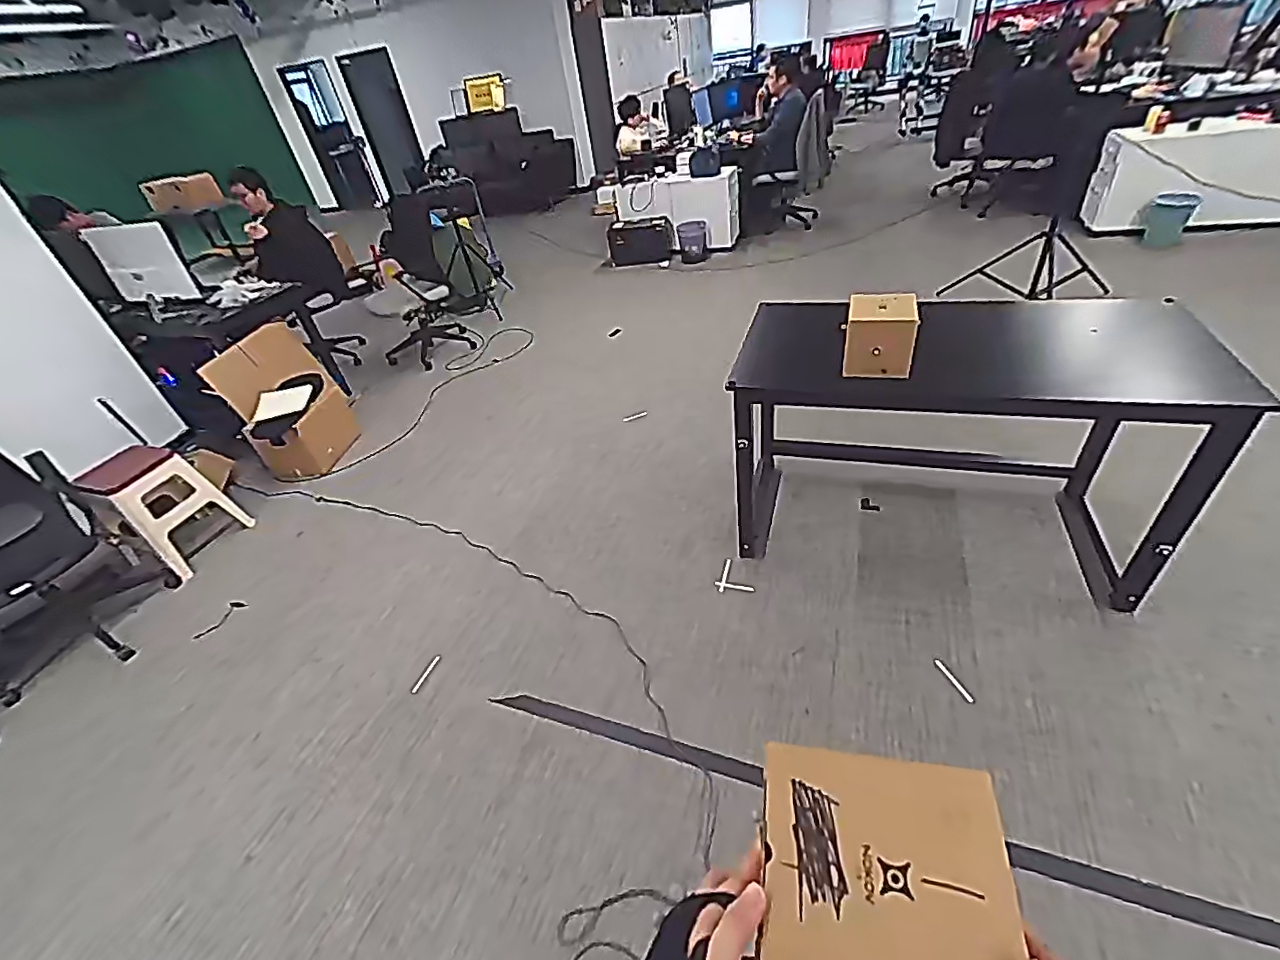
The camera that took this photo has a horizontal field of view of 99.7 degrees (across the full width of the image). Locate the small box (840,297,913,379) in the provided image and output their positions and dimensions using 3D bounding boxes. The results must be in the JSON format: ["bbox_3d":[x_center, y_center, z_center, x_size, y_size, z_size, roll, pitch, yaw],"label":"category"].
[{"bbox_3d":[0.652,-0.392,1.498,0.168,0.176,0.179,6,41,19],"label":"small box"}]

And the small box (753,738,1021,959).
[{"bbox_3d":[0.192,0.345,0.465,0.179,0.176,0.168,2,48,14],"label":"small box"}]
